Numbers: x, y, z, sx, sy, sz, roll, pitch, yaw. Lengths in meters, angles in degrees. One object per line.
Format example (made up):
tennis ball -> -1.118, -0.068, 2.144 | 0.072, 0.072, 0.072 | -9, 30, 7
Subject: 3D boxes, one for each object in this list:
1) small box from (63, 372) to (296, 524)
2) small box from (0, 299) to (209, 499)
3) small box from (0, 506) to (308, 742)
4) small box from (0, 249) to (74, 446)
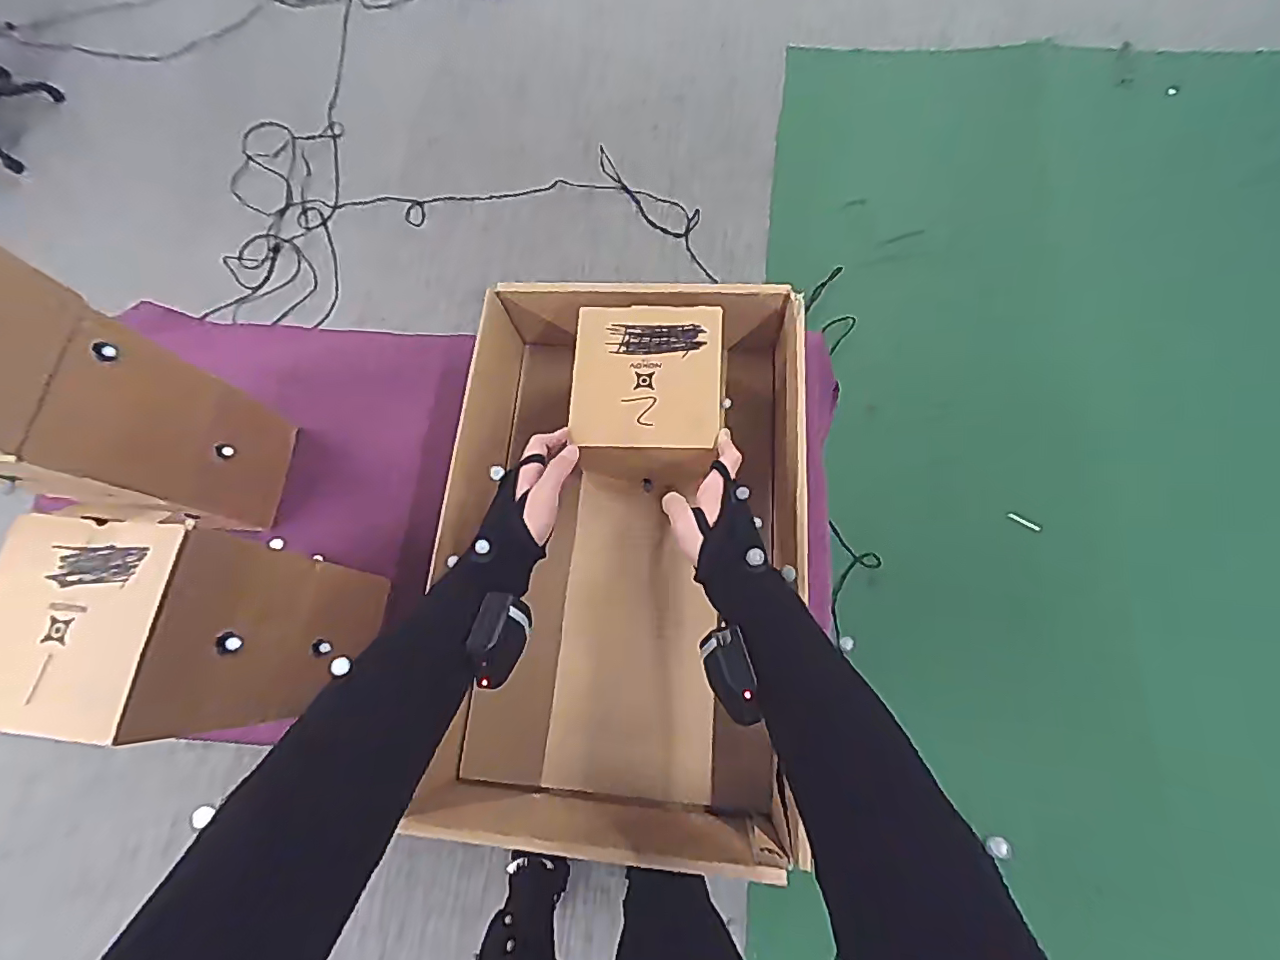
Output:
small box -> -0.632, -0.040, 0.767 | 0.168, 0.176, 0.179 | 4, 73, 5
small box -> -0.646, -0.084, 0.612 | 0.168, 0.176, 0.179 | 3, 73, 5
small box -> -0.463, 0.137, 0.522 | 0.168, 0.176, 0.179 | 5, 73, 6
small box -> -0.656, -0.137, 0.457 | 0.168, 0.176, 0.179 | 3, 73, 5
